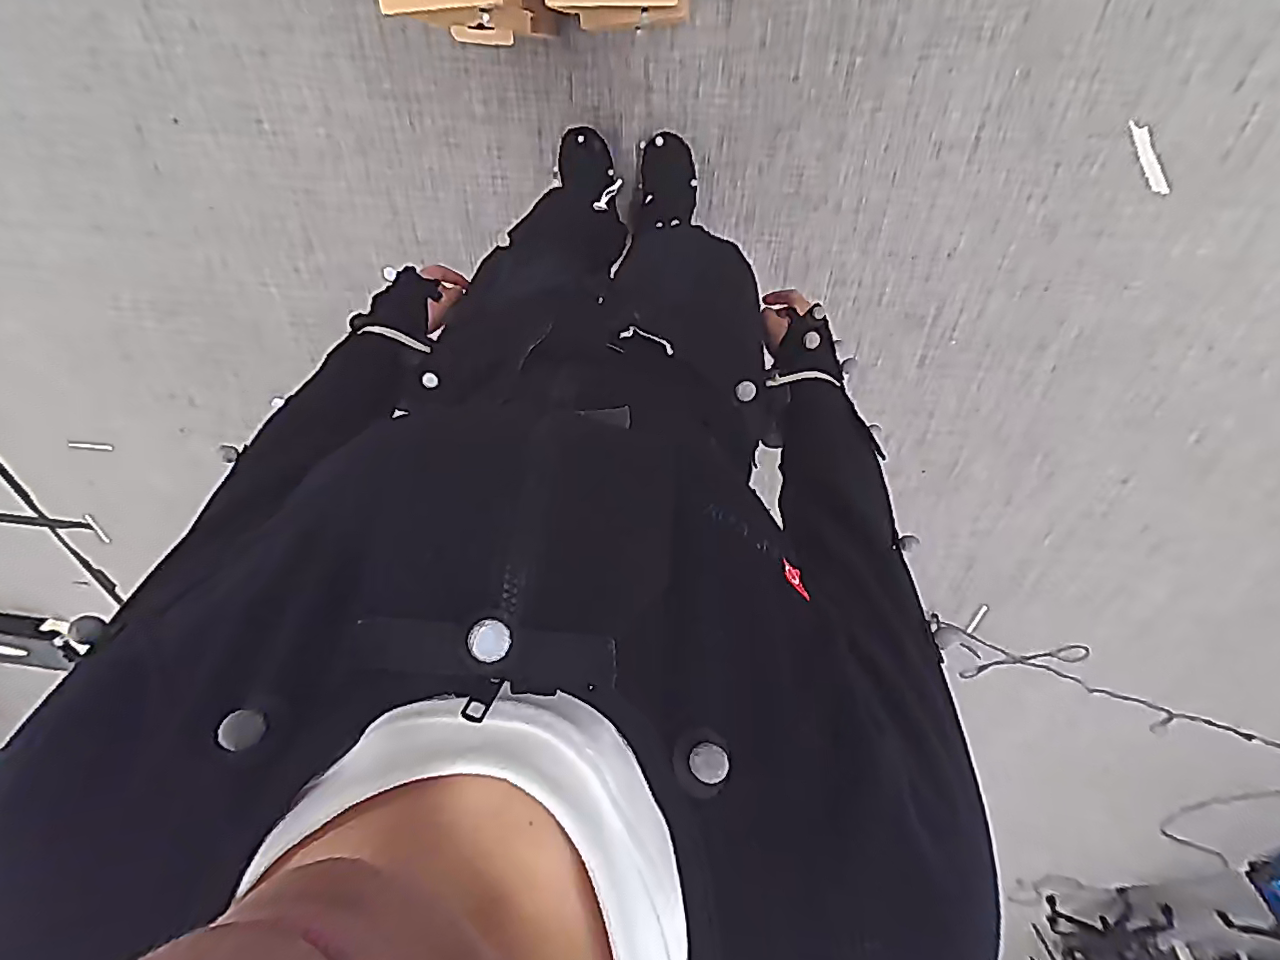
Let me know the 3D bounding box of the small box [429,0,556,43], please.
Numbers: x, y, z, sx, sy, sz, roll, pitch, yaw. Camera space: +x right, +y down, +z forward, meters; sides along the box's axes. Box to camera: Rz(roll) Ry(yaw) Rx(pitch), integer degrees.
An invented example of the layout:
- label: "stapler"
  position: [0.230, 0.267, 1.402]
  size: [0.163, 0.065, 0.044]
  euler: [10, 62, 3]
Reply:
- label: "small box"
  position: [-0.235, -0.824, 0.873]
  size: [0.168, 0.176, 0.179]
  euler: [6, 127, 3]
